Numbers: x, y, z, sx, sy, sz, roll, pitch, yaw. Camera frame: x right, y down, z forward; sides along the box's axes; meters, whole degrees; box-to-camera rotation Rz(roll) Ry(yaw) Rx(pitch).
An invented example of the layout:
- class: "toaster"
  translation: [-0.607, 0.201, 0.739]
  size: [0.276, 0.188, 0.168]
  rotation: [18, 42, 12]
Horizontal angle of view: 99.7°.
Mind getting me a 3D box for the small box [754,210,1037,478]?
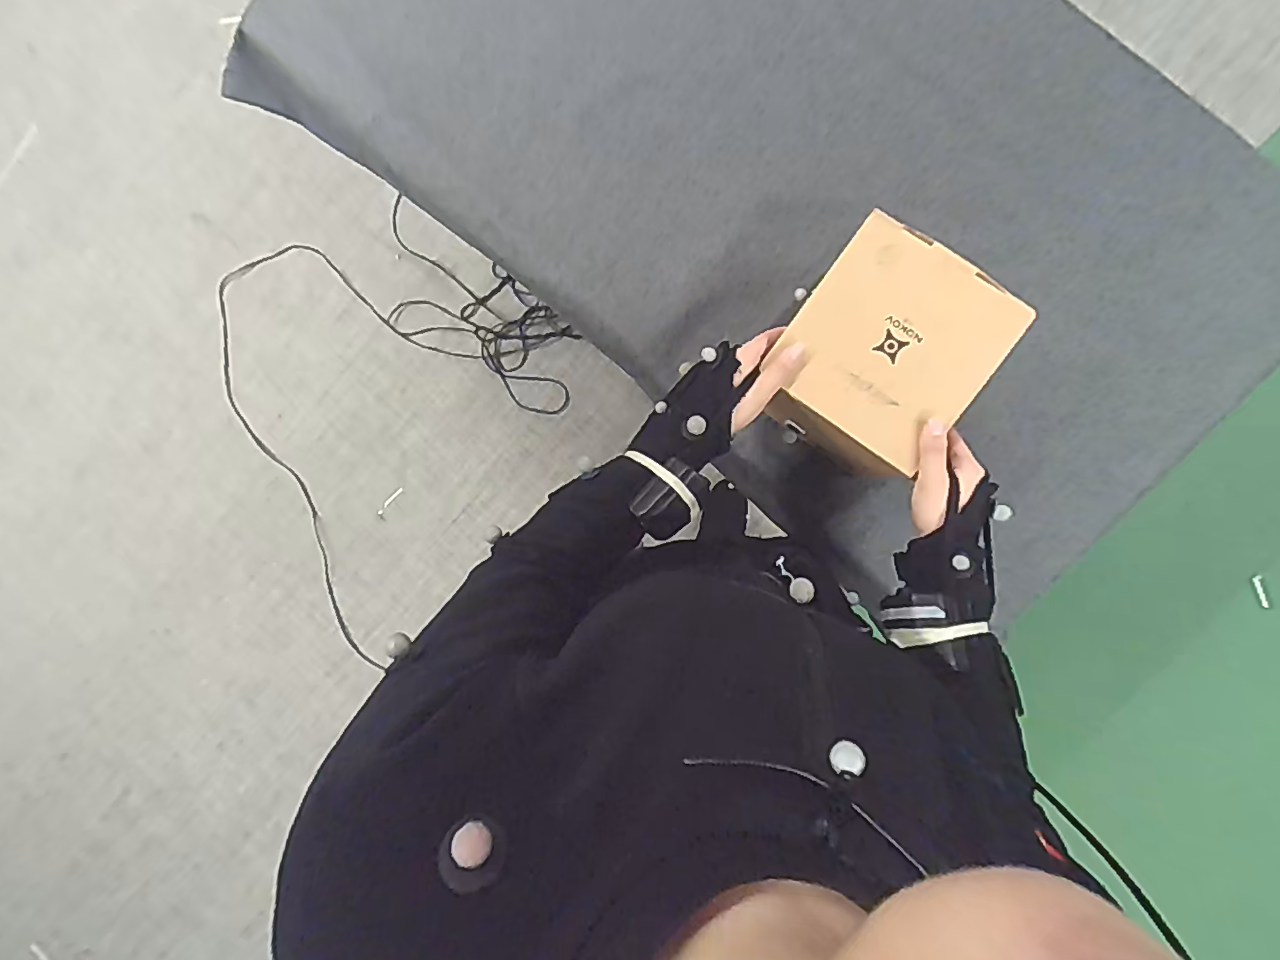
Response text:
- class: "small box"
  translation: [0.229, -0.119, 0.544]
  size: [0.168, 0.176, 0.179]
  rotation: [35, 95, 6]
